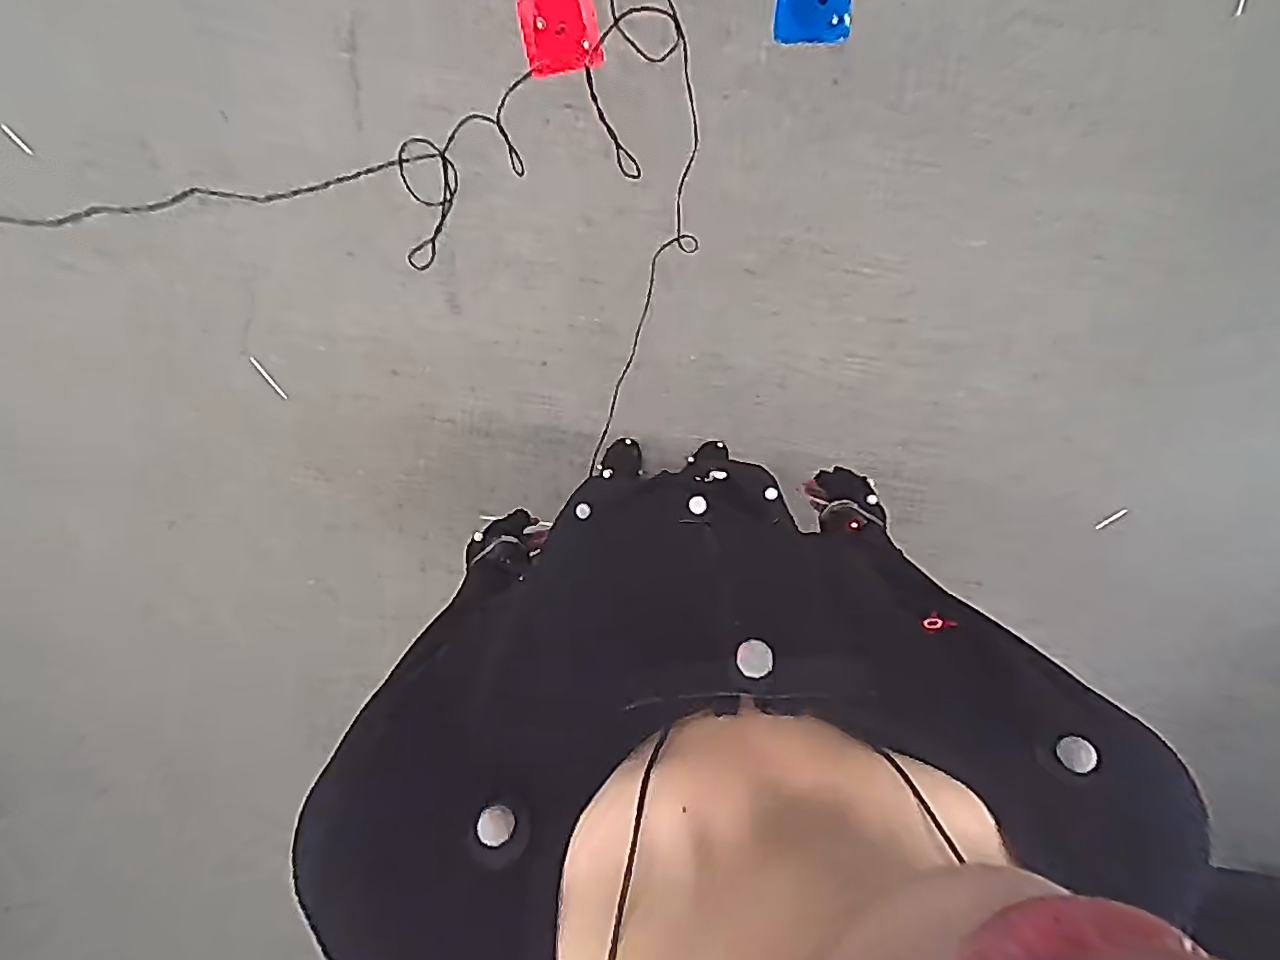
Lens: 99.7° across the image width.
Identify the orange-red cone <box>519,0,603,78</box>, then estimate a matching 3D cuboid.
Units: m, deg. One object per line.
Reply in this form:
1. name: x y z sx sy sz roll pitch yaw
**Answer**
1. orange-red cone: -0.204 -1.148 1.235 0.198 0.360 0.199 -11 93 0
